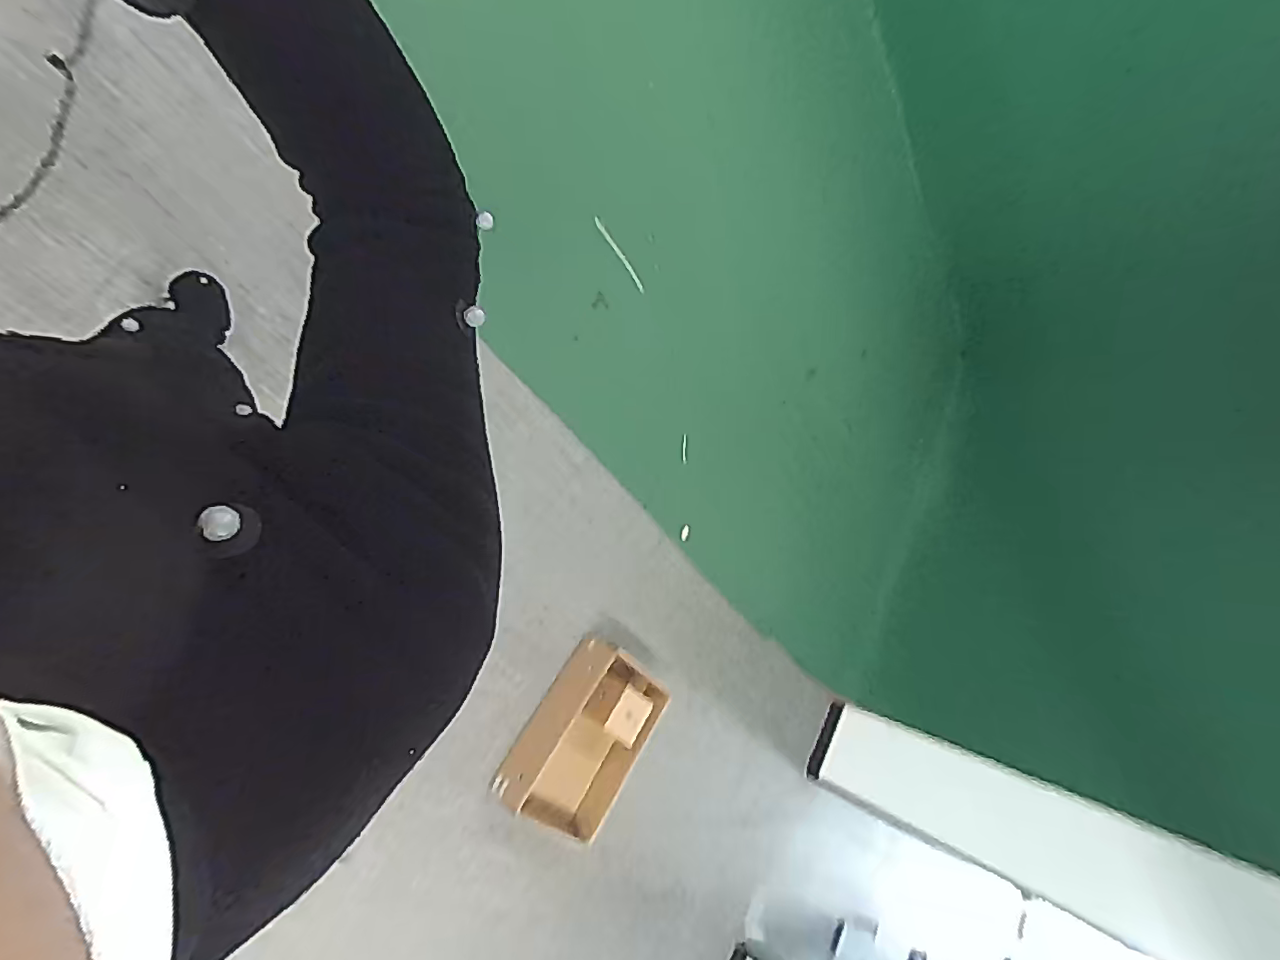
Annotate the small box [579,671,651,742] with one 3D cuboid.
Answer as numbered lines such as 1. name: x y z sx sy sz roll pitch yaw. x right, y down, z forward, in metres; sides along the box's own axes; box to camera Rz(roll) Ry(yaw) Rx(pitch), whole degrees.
1. small box: -0.098 0.843 2.029 0.179 0.176 0.168 49 64 -34
